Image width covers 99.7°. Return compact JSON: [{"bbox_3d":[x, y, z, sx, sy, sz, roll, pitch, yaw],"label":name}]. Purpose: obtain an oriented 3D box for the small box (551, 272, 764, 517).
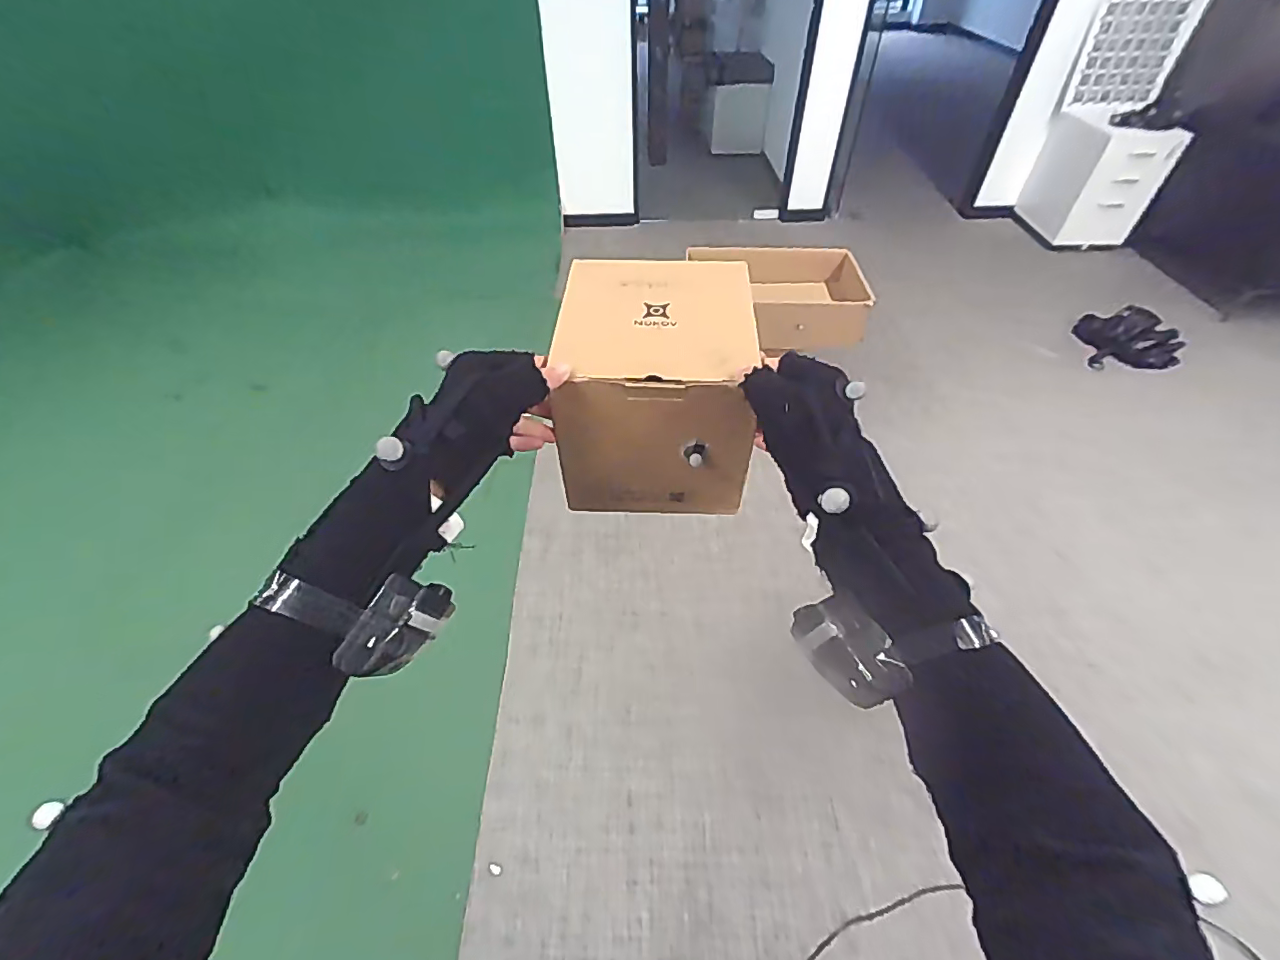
[{"bbox_3d":[0.019,-0.080,0.521,0.168,0.176,0.179,2,49,2],"label":"small box"}]
